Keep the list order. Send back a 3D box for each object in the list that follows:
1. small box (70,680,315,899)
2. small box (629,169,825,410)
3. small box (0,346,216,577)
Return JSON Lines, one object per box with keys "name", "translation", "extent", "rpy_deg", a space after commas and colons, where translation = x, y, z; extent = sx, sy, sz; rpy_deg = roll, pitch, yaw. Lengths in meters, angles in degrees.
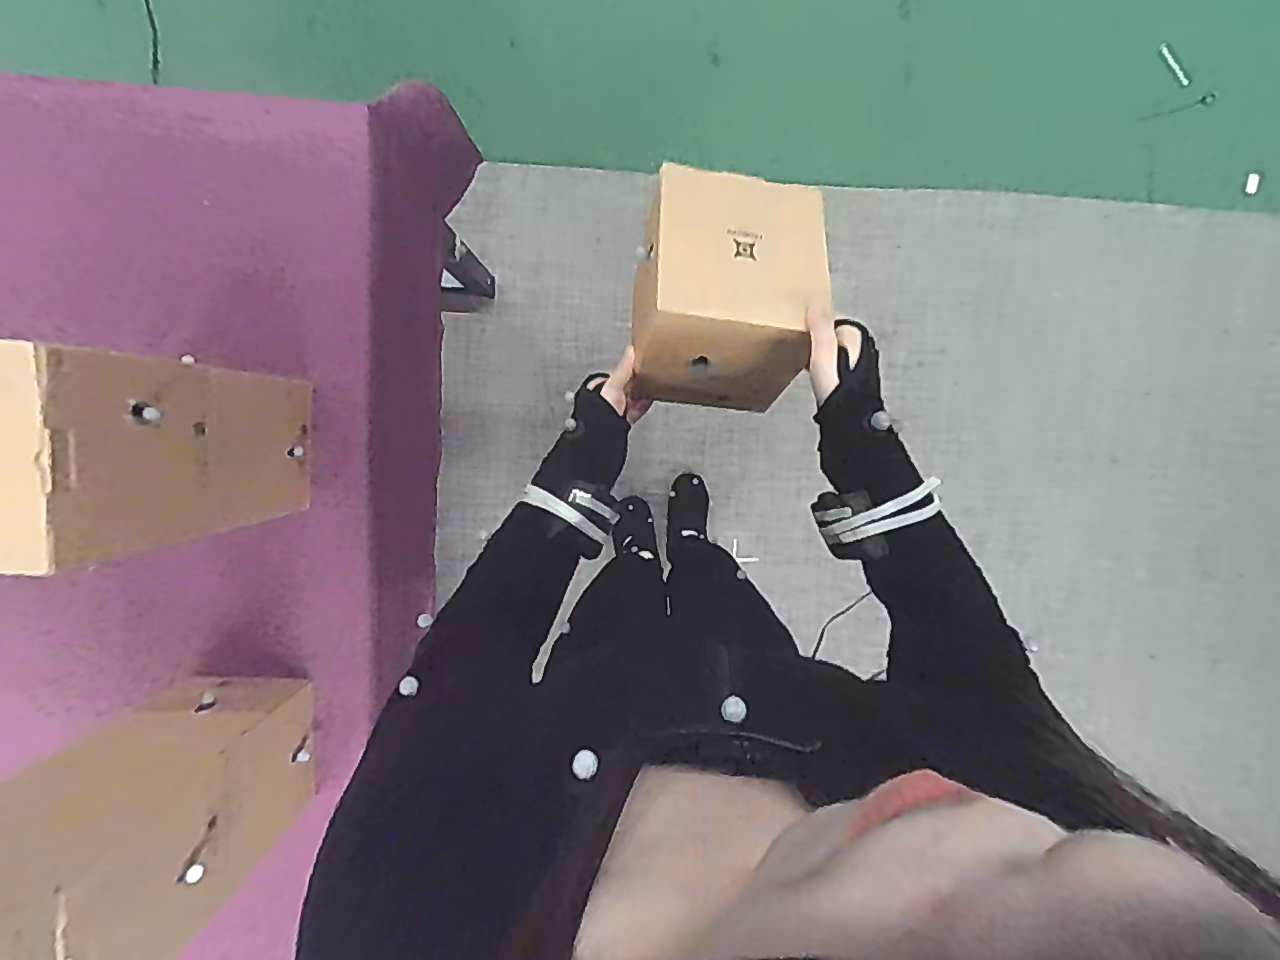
{"name": "small box", "translation": [-0.522, 0.360, 0.657], "extent": [0.168, 0.176, 0.179], "rpy_deg": [1, 95, -2]}
{"name": "small box", "translation": [0.082, -0.193, 0.590], "extent": [0.168, 0.176, 0.179], "rpy_deg": [5, 69, -8]}
{"name": "small box", "translation": [-0.498, -0.024, 0.454], "extent": [0.179, 0.176, 0.168], "rpy_deg": [3, 95, -2]}
